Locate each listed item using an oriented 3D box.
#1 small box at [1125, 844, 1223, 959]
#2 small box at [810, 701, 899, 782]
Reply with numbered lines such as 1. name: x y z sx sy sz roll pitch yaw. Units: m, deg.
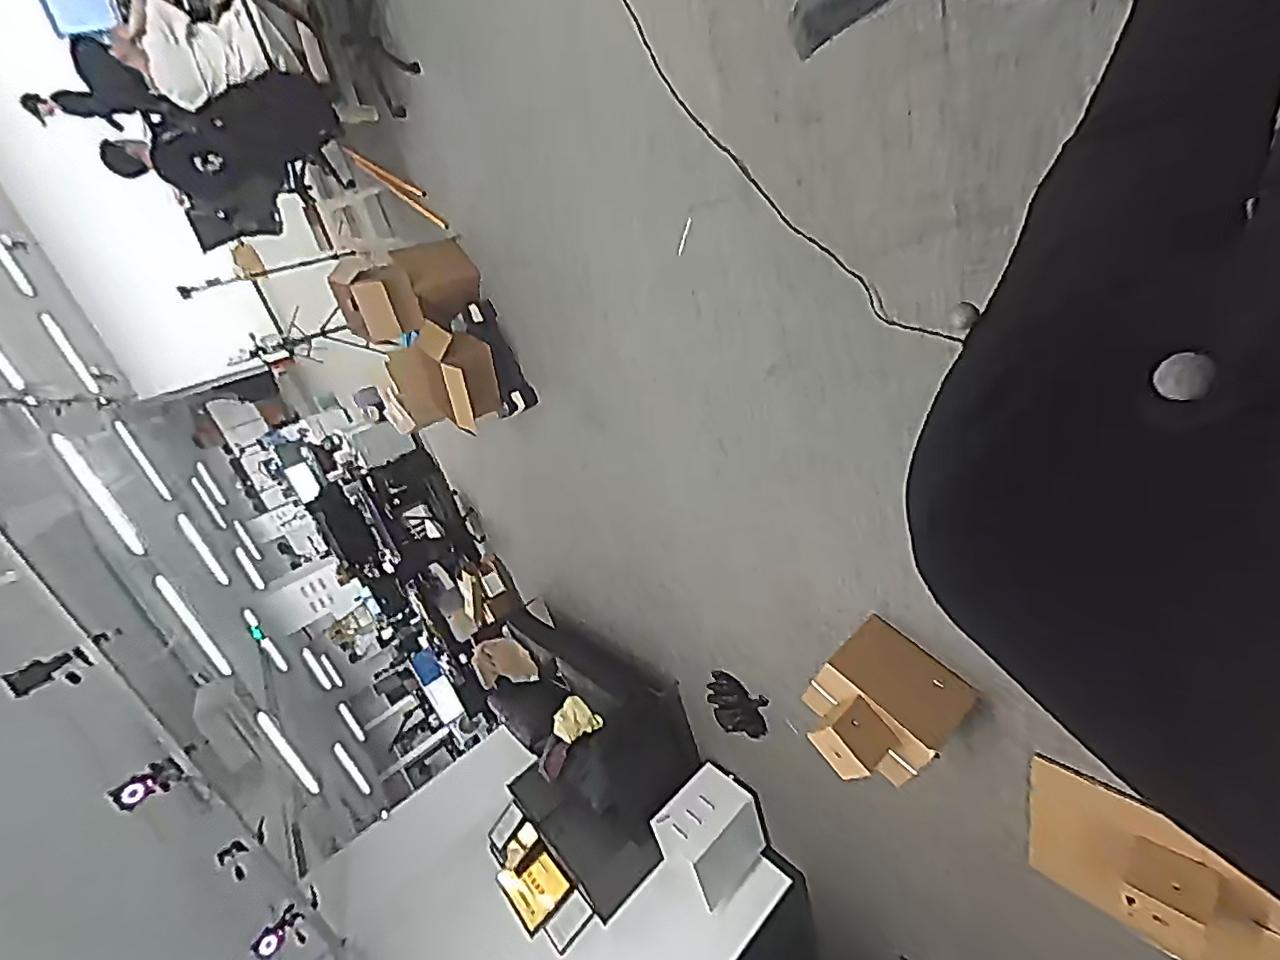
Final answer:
1. small box: 1.478 1.165 1.496 0.179 0.176 0.168 6 123 52
2. small box: 0.706 0.854 1.783 0.179 0.176 0.168 48 148 18
